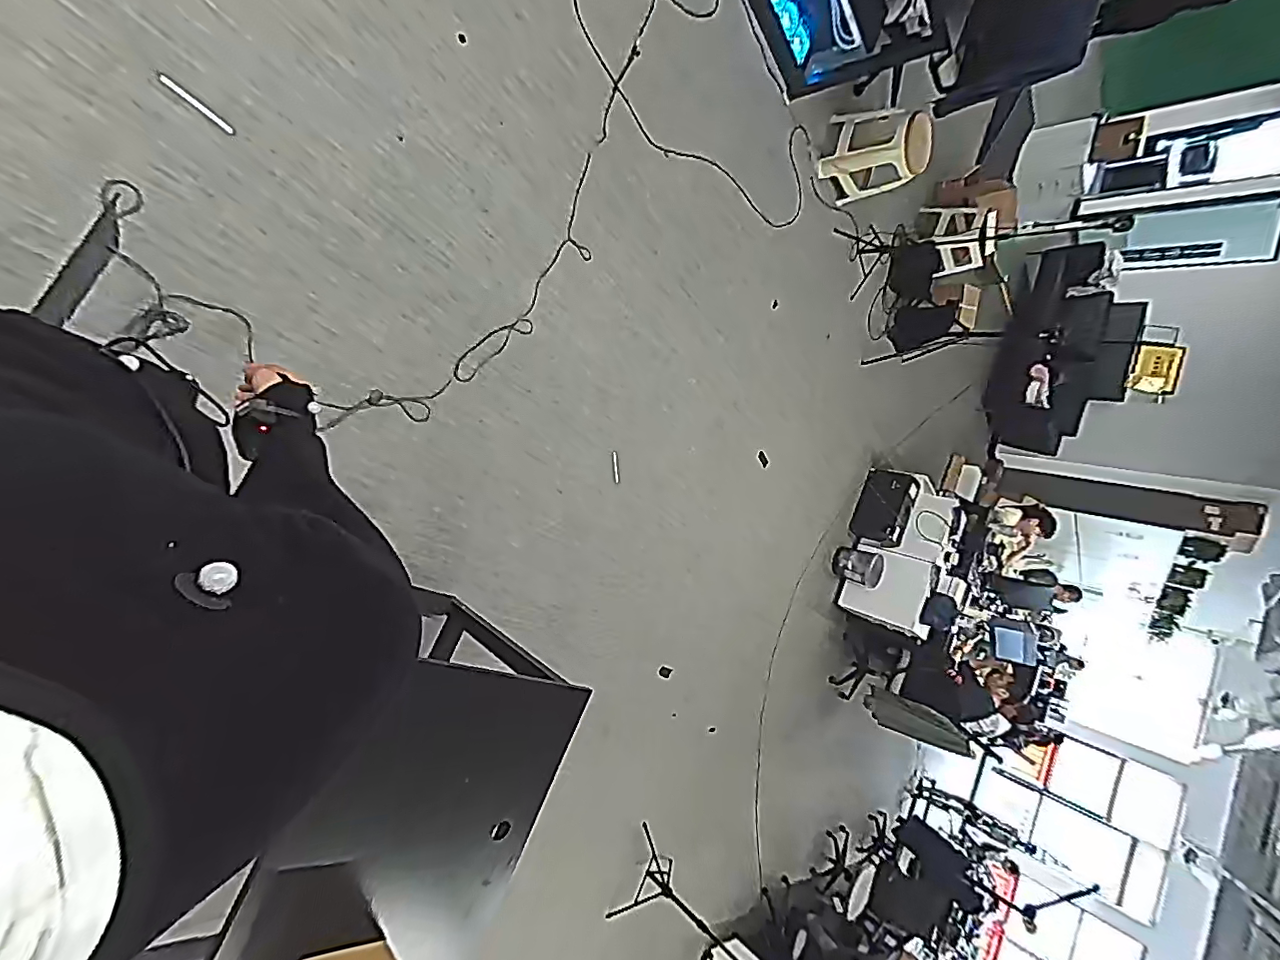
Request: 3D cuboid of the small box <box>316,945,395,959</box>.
[{"bbox_3d":[-0.533,0.988,0.967,0.179,0.176,0.168,32,77,-45],"label":"small box"}]
